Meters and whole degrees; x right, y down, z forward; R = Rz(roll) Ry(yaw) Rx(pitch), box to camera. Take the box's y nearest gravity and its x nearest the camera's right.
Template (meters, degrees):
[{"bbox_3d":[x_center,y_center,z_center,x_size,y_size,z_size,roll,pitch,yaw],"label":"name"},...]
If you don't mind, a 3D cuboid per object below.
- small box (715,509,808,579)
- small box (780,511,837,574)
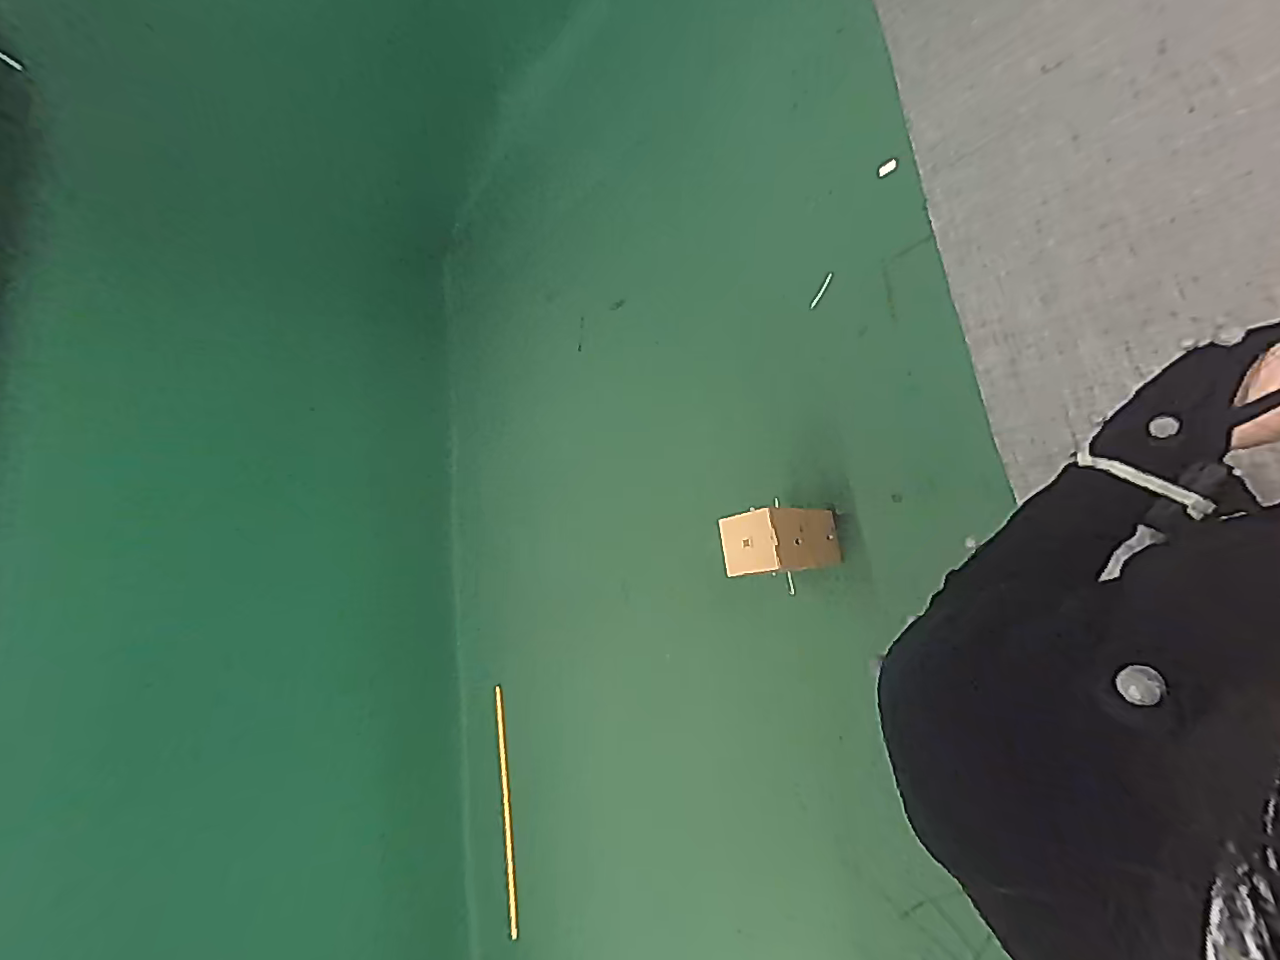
[{"bbox_3d":[0.337,0.182,1.506,0.179,0.176,0.168,-22,71,44],"label":"small box"},{"bbox_3d":[0.456,0.192,1.615,0.179,0.176,0.168,-20,73,44],"label":"small box"}]
